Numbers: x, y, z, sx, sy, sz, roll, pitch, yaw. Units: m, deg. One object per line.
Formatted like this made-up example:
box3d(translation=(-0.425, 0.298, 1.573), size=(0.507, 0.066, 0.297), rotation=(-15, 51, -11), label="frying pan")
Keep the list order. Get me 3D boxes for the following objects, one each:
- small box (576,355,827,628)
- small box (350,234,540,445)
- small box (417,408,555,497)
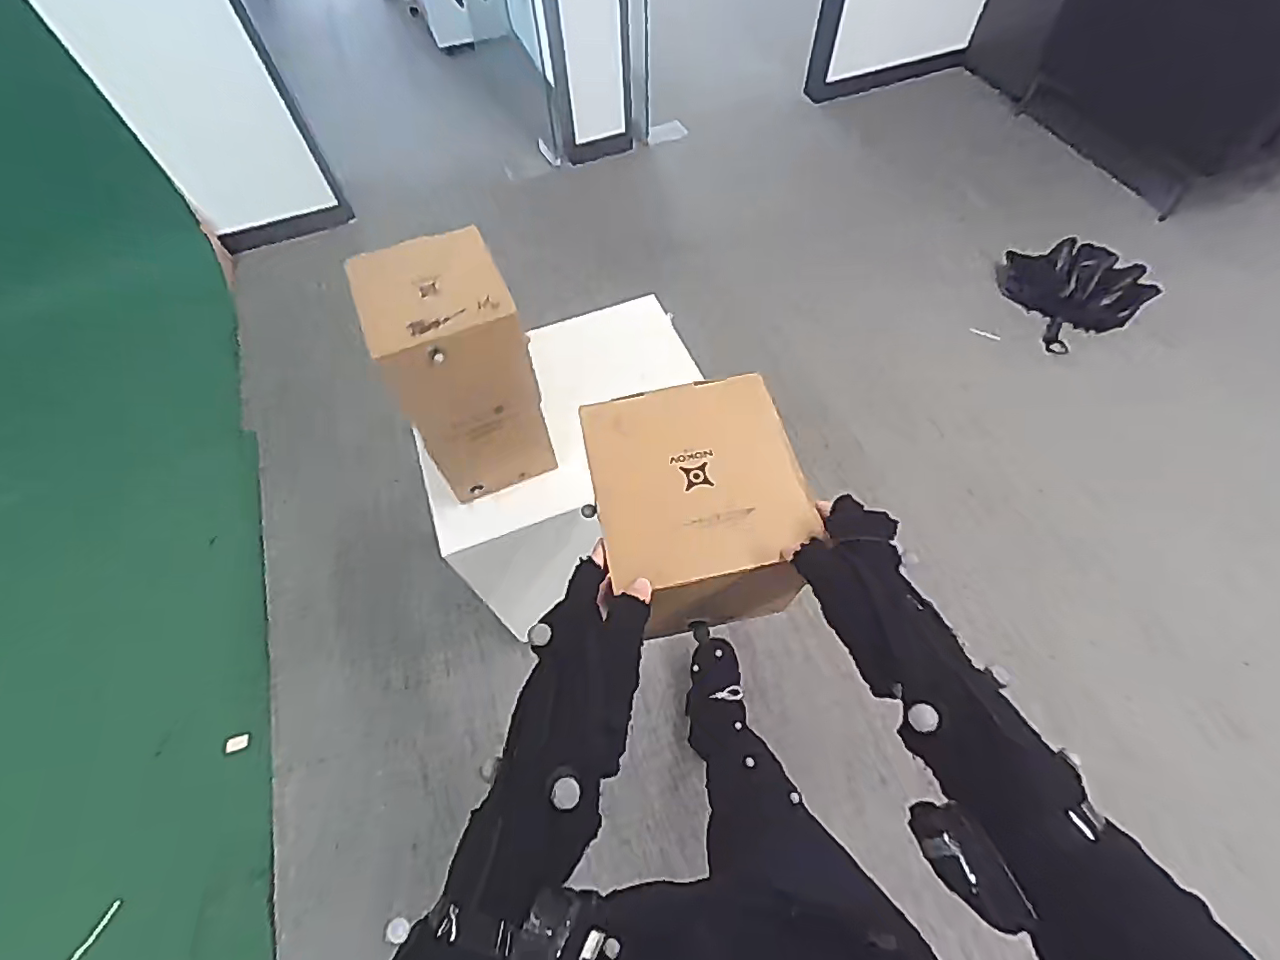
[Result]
box3d(translation=(0.044, 0.018, 0.500), size=(0.168, 0.176, 0.179), rotation=(-13, 63, -4), label="small box")
box3d(translation=(-0.244, -0.177, 0.701), size=(0.168, 0.176, 0.179), rotation=(-22, 61, -11), label="small box")
box3d(translation=(-0.243, -0.093, 0.840), size=(0.168, 0.176, 0.179), rotation=(-22, 61, -11), label="small box")
